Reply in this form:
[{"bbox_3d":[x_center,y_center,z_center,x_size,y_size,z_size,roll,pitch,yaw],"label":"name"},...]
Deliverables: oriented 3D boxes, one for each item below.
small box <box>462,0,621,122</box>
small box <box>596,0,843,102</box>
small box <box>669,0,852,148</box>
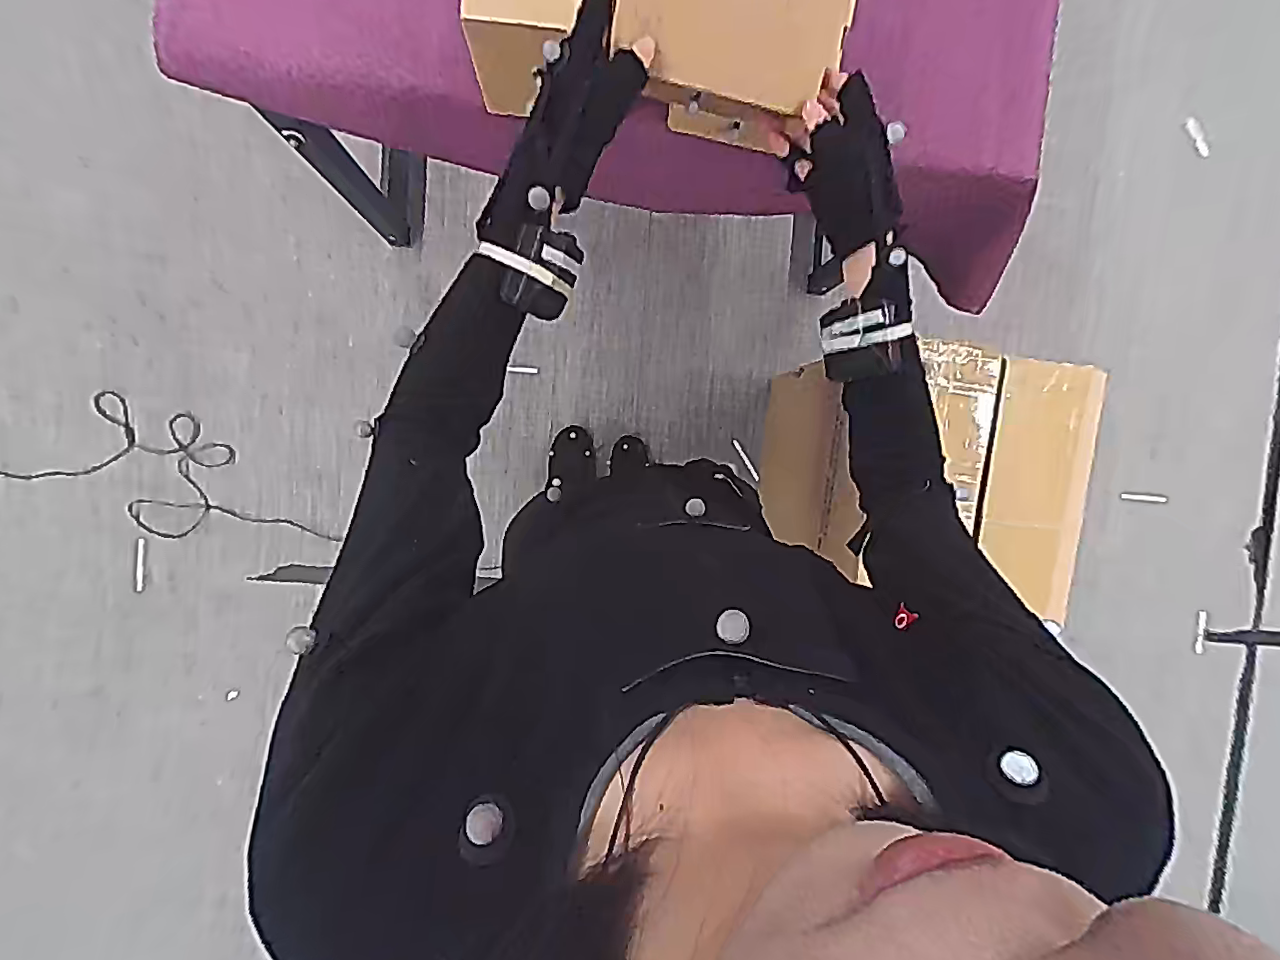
[{"bbox_3d":[-0.104,-0.570,0.654,0.179,0.176,0.168,3,92,-4],"label":"small box"},{"bbox_3d":[0.062,-0.430,0.448,0.179,0.176,0.168,4,121,-13],"label":"small box"},{"bbox_3d":[0.145,-0.555,0.681,0.179,0.176,0.168,9,92,-7],"label":"small box"}]
